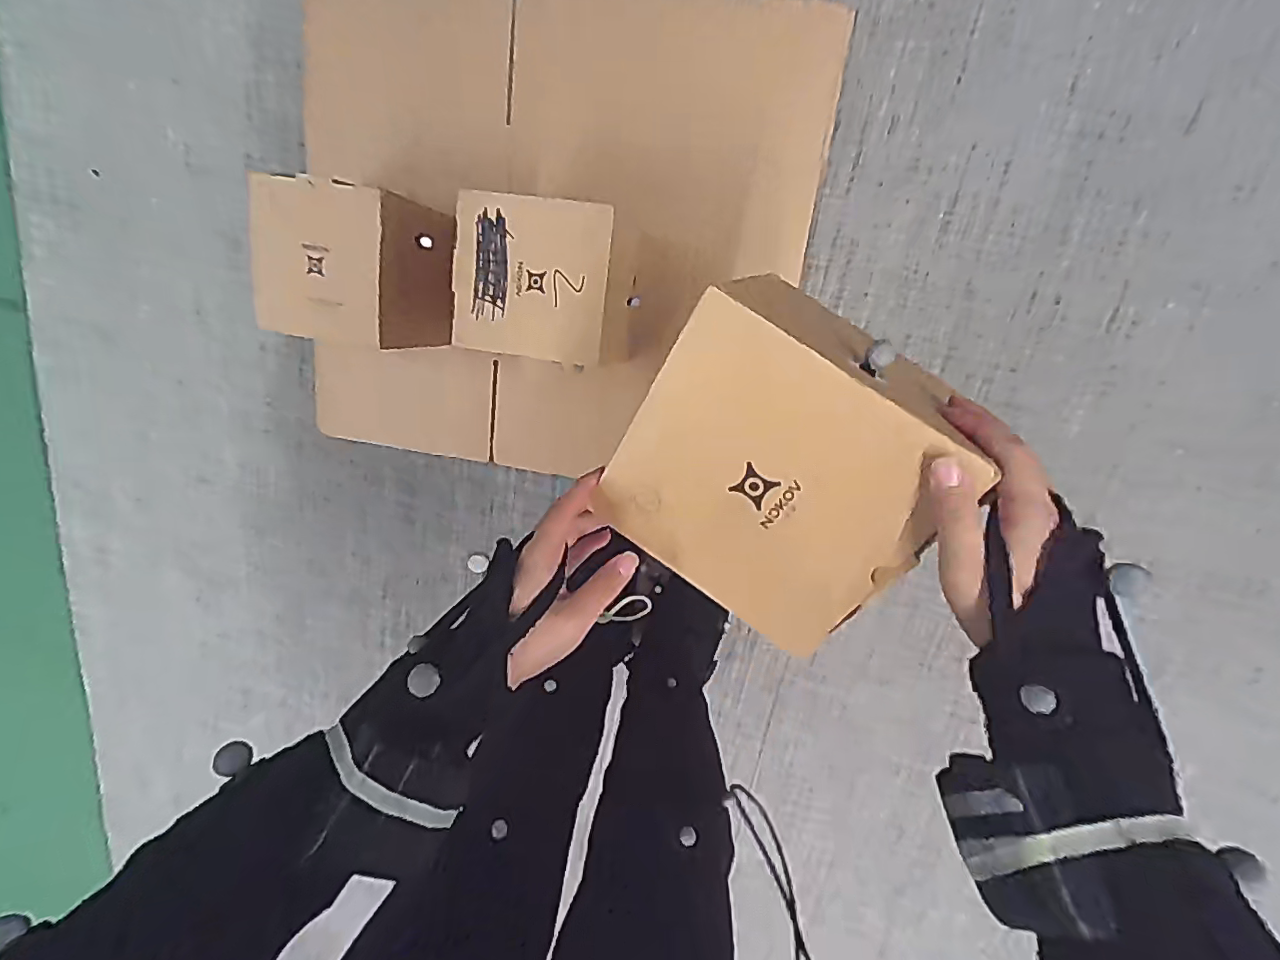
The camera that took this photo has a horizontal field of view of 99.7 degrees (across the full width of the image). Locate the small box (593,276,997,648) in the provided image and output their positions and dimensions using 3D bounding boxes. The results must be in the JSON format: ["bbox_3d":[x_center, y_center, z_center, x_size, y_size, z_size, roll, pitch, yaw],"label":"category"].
[{"bbox_3d":[0.102,-0.026,0.386,0.179,0.176,0.168,35,121,7],"label":"small box"}]

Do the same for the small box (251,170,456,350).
[{"bbox_3d":[-0.351,-0.269,0.691,0.168,0.176,0.179,10,107,7],"label":"small box"}]
